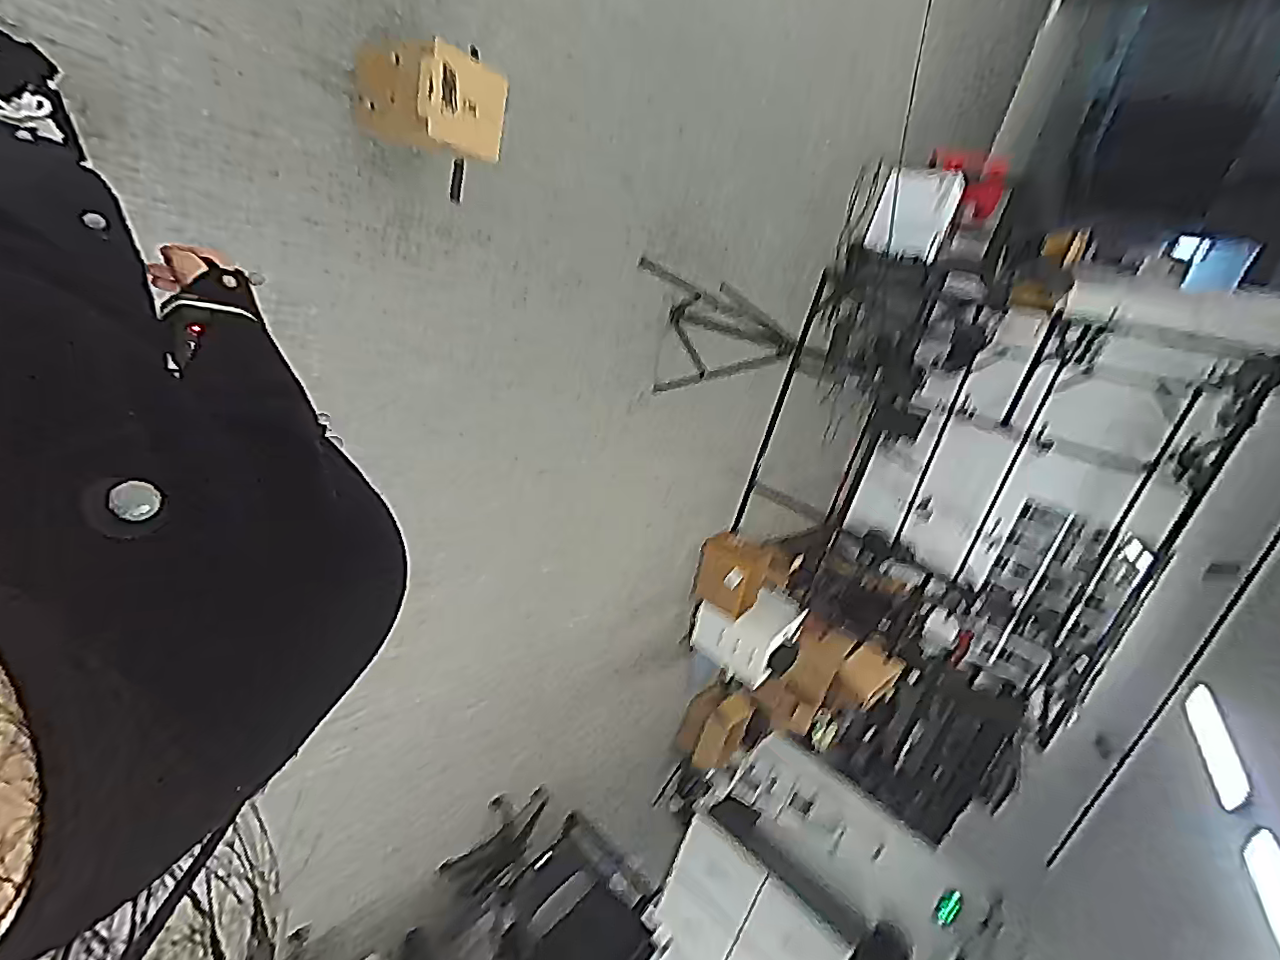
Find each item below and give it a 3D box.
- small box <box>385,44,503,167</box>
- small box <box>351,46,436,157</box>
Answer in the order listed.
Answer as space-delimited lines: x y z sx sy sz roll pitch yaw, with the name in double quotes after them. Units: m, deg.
-0.425 -0.795 1.163 0.179 0.176 0.168 -10 121 -50 "small box"
-0.545 -0.865 1.253 0.179 0.176 0.168 -12 123 -50 "small box"
